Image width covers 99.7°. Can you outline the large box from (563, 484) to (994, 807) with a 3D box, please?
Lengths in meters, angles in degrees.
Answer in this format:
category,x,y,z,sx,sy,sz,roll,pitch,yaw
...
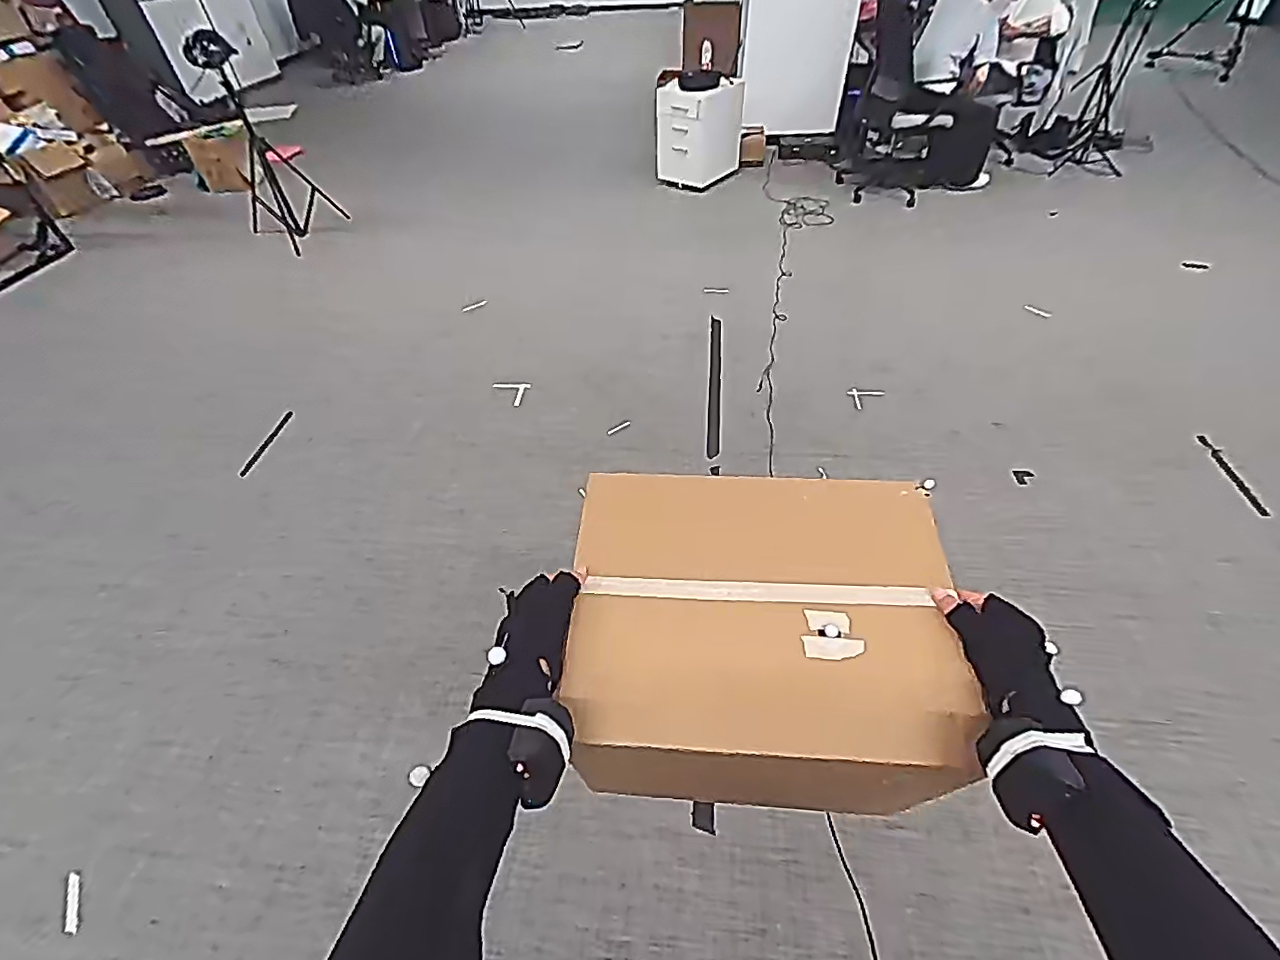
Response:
category,x,y,z,sx,sy,sz,roll,pitch,yaw
large box,0.135,0.220,0.704,0.408,0.320,0.320,1,53,4
